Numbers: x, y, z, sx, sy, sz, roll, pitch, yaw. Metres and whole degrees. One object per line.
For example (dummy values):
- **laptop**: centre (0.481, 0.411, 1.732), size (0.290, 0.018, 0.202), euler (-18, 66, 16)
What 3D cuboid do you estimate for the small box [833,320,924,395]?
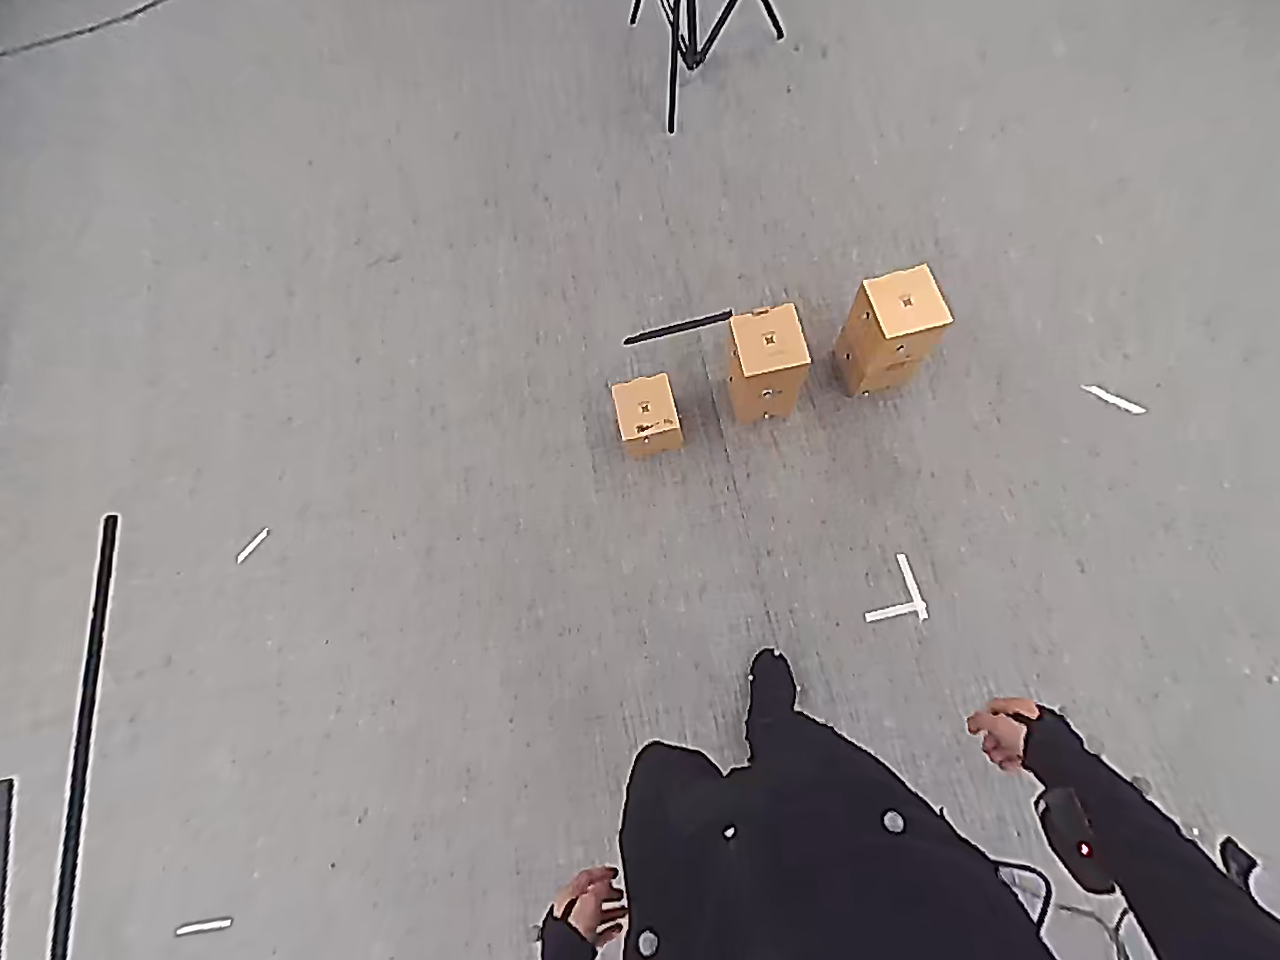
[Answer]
- **small box**: centre (0.674, -0.359, 1.545), size (0.168, 0.176, 0.179), euler (-15, 71, 2)

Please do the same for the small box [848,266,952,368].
- **small box**: centre (0.658, -0.408, 1.391), size (0.168, 0.176, 0.179), euler (-14, 71, 2)

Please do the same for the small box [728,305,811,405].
- **small box**: centre (0.326, -0.320, 1.403), size (0.168, 0.176, 0.179), euler (-12, 72, 4)

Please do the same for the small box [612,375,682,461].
- **small box**: centre (0.022, -0.176, 1.573), size (0.168, 0.176, 0.179), euler (-13, 71, 4)

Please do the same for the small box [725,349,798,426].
- **small box**: centre (0.344, -0.278, 1.561), size (0.168, 0.176, 0.179), euler (-11, 73, 4)
